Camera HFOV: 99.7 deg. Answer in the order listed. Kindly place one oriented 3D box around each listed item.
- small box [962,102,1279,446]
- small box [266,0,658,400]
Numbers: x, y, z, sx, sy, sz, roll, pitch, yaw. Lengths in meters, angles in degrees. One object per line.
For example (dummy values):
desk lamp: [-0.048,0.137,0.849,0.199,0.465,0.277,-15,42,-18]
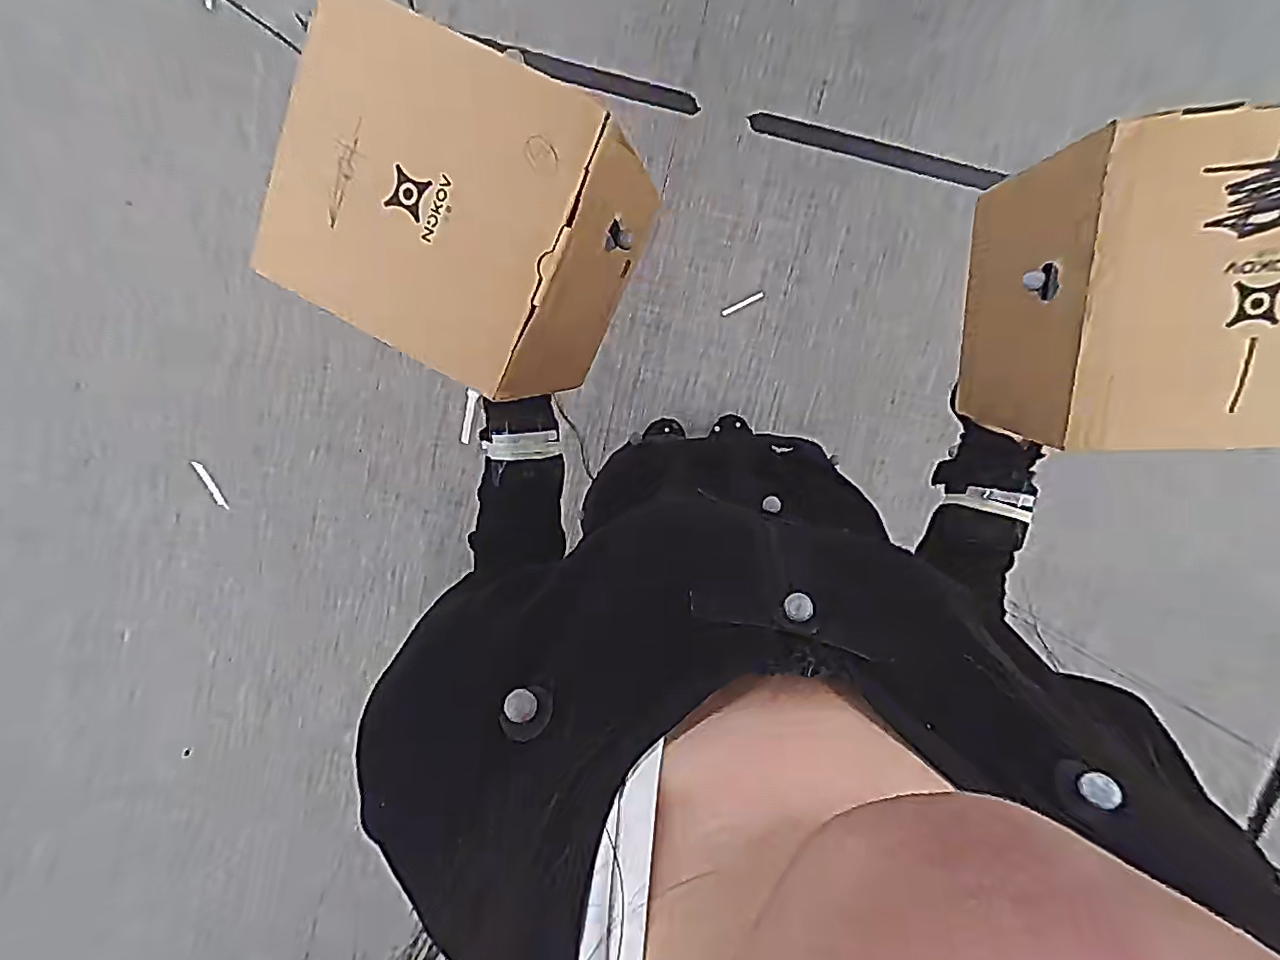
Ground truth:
small box: [0.341,-0.124,0.365,0.168,0.176,0.179,-1,104,11]
small box: [-0.104,-0.173,0.379,0.179,0.176,0.168,28,106,5]
